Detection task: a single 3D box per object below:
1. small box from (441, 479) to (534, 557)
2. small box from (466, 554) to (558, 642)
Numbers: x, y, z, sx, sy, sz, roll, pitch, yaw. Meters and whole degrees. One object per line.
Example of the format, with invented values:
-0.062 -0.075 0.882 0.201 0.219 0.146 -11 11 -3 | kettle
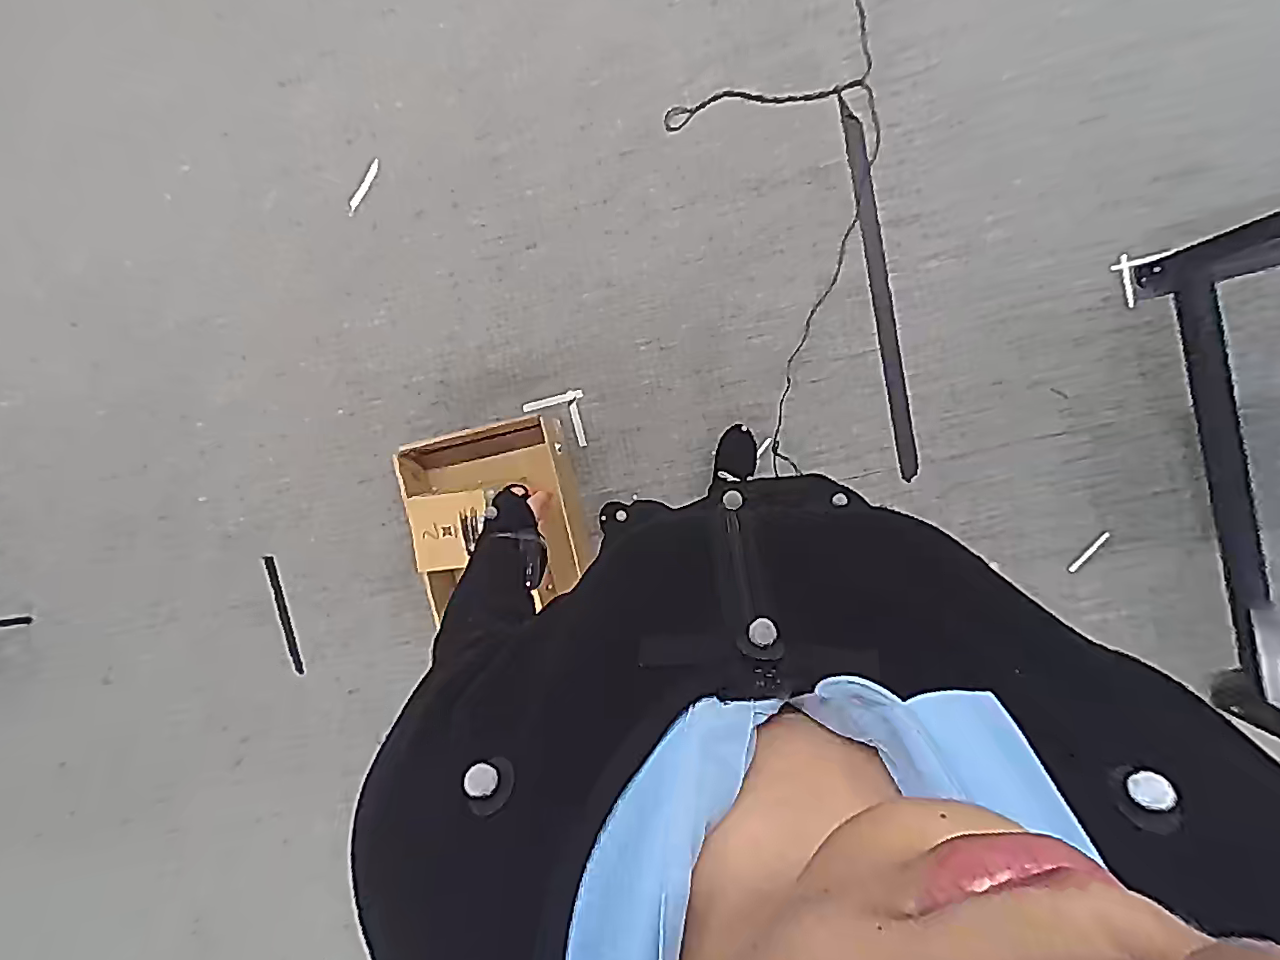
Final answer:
-0.390 0.095 1.408 0.179 0.176 0.168 -8 95 3 | small box
-0.323 0.301 1.413 0.179 0.176 0.168 -15 90 5 | small box
